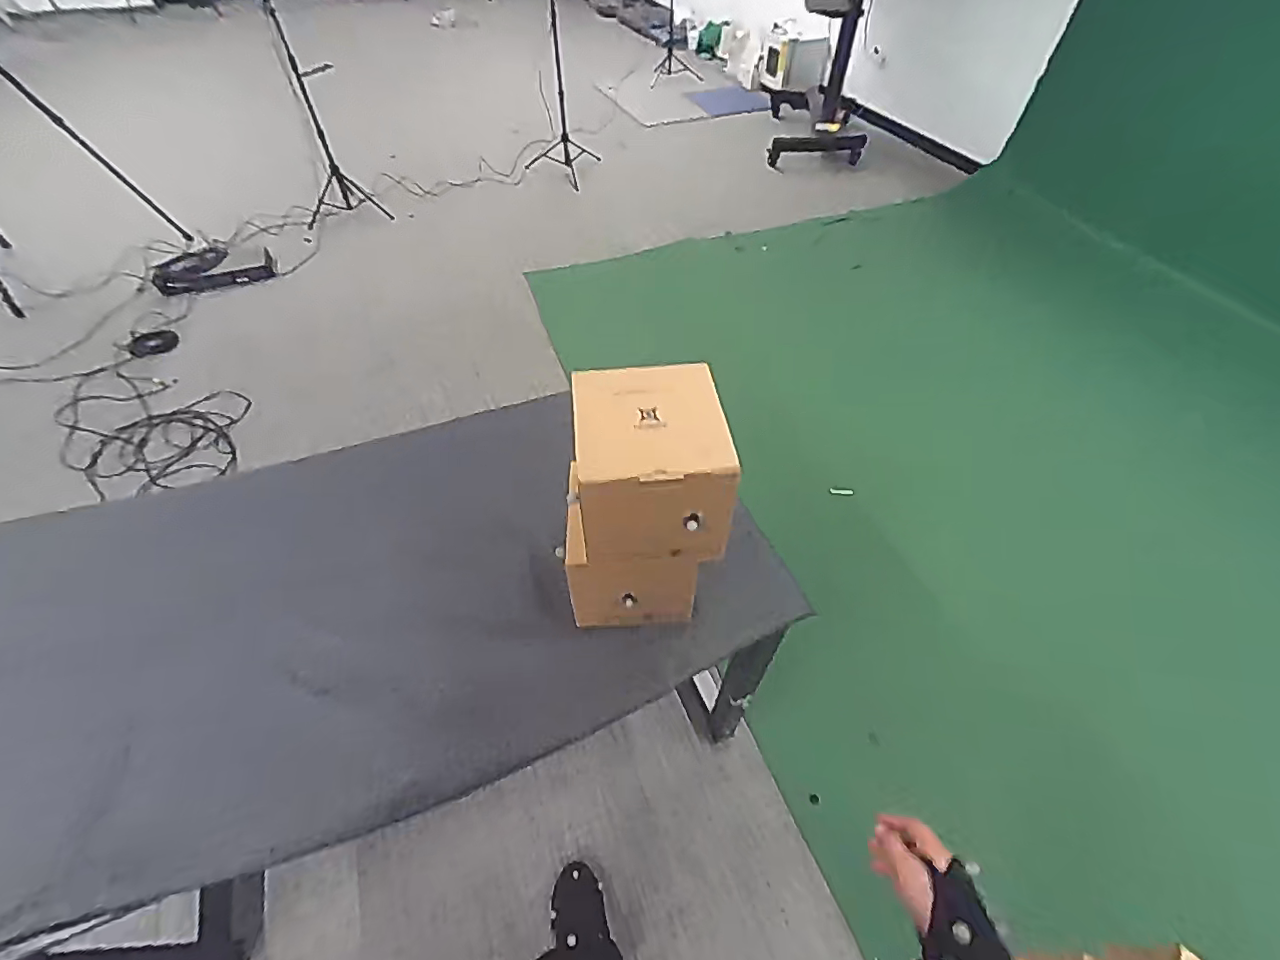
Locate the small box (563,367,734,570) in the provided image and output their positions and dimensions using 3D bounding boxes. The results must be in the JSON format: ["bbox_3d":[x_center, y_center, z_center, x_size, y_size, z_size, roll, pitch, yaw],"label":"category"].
[{"bbox_3d":[0.003,-0.008,0.635,0.168,0.176,0.179,-5,48,-6],"label":"small box"}]

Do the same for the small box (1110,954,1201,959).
[{"bbox_3d":[0.752,0.787,0.725,0.168,0.176,0.179,35,58,25],"label":"small box"}]

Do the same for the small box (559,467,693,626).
[{"bbox_3d":[-0.018,0.095,0.761,0.168,0.176,0.179,-2,48,-2],"label":"small box"}]
